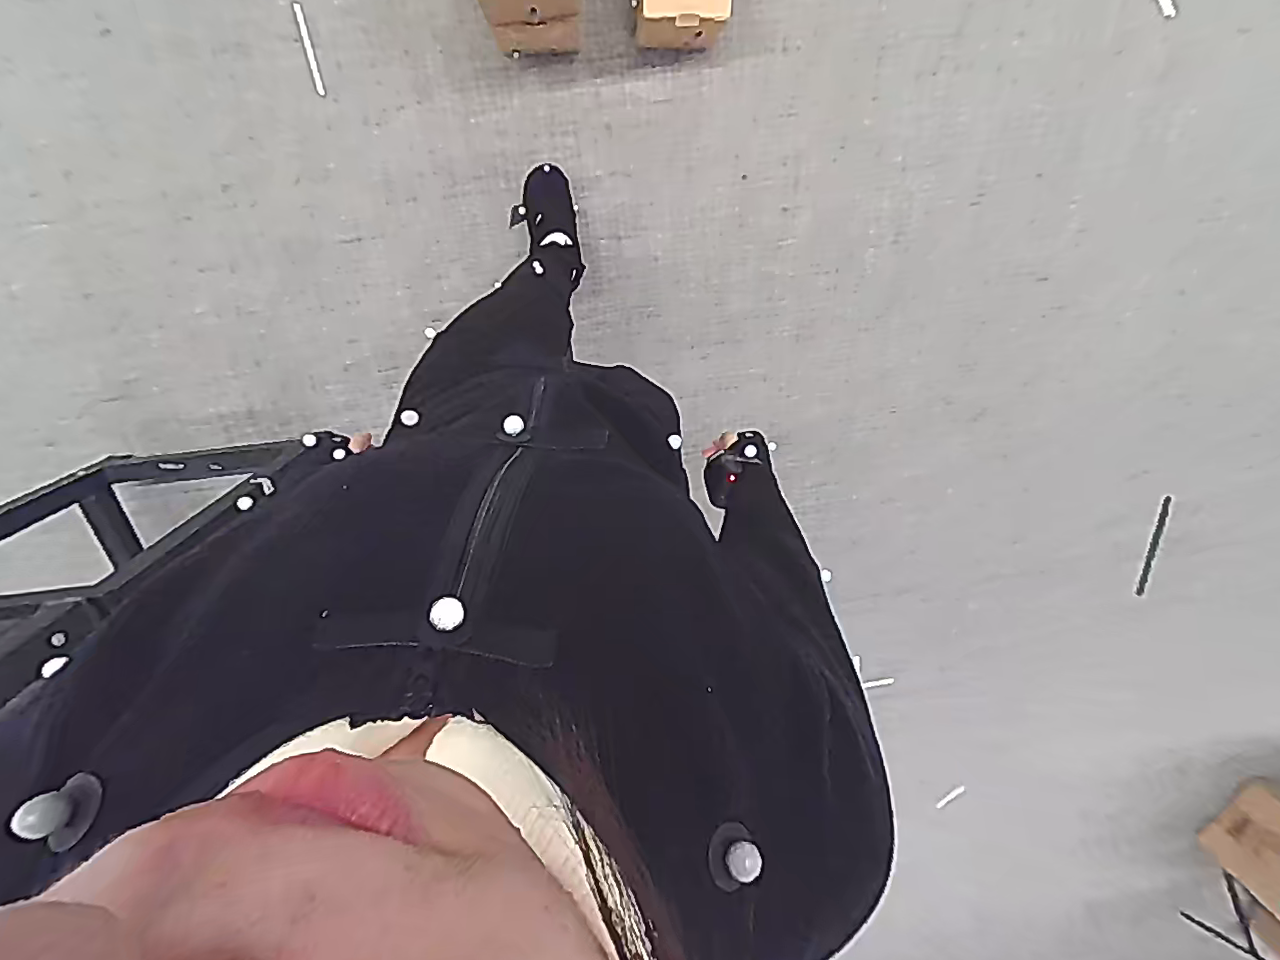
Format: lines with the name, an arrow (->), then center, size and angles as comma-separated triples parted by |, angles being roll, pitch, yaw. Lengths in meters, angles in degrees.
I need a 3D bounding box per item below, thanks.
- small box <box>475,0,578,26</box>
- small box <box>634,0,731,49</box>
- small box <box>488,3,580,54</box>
small box -> -0.192, -0.863, 0.863 | 0.179, 0.176, 0.168 | -10, 114, -2
small box -> 0.079, -0.954, 1.033 | 0.168, 0.176, 0.179 | -3, 113, -5
small box -> -0.202, -0.927, 1.015 | 0.168, 0.176, 0.179 | -5, 113, -4
